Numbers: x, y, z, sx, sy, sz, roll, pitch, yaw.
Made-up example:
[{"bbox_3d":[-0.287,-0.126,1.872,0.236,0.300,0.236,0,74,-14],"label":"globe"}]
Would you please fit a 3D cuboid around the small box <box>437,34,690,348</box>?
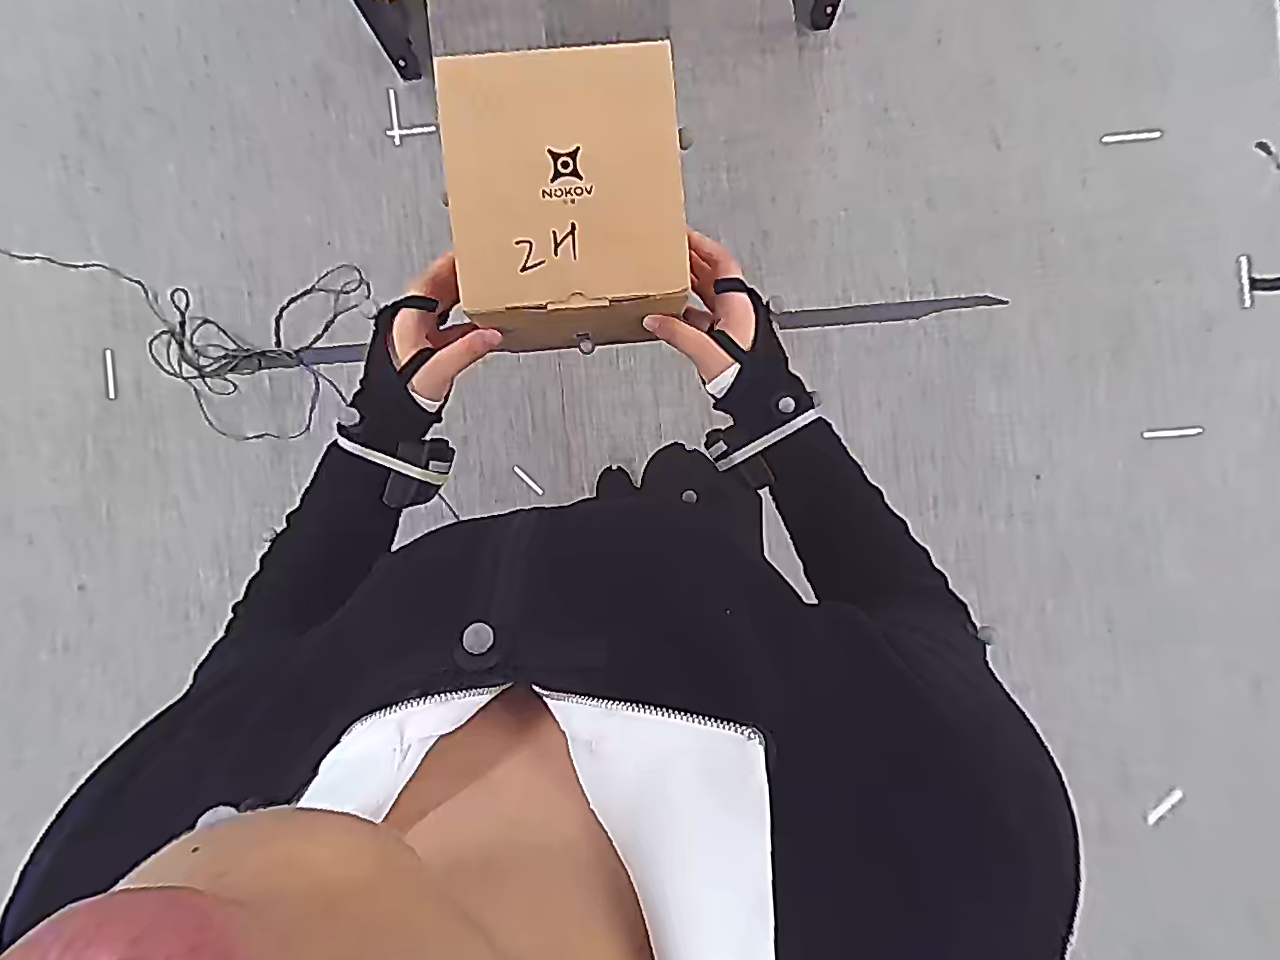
[{"bbox_3d":[-0.055,-0.220,0.455,0.168,0.176,0.179,-5,93,-1],"label":"small box"}]
